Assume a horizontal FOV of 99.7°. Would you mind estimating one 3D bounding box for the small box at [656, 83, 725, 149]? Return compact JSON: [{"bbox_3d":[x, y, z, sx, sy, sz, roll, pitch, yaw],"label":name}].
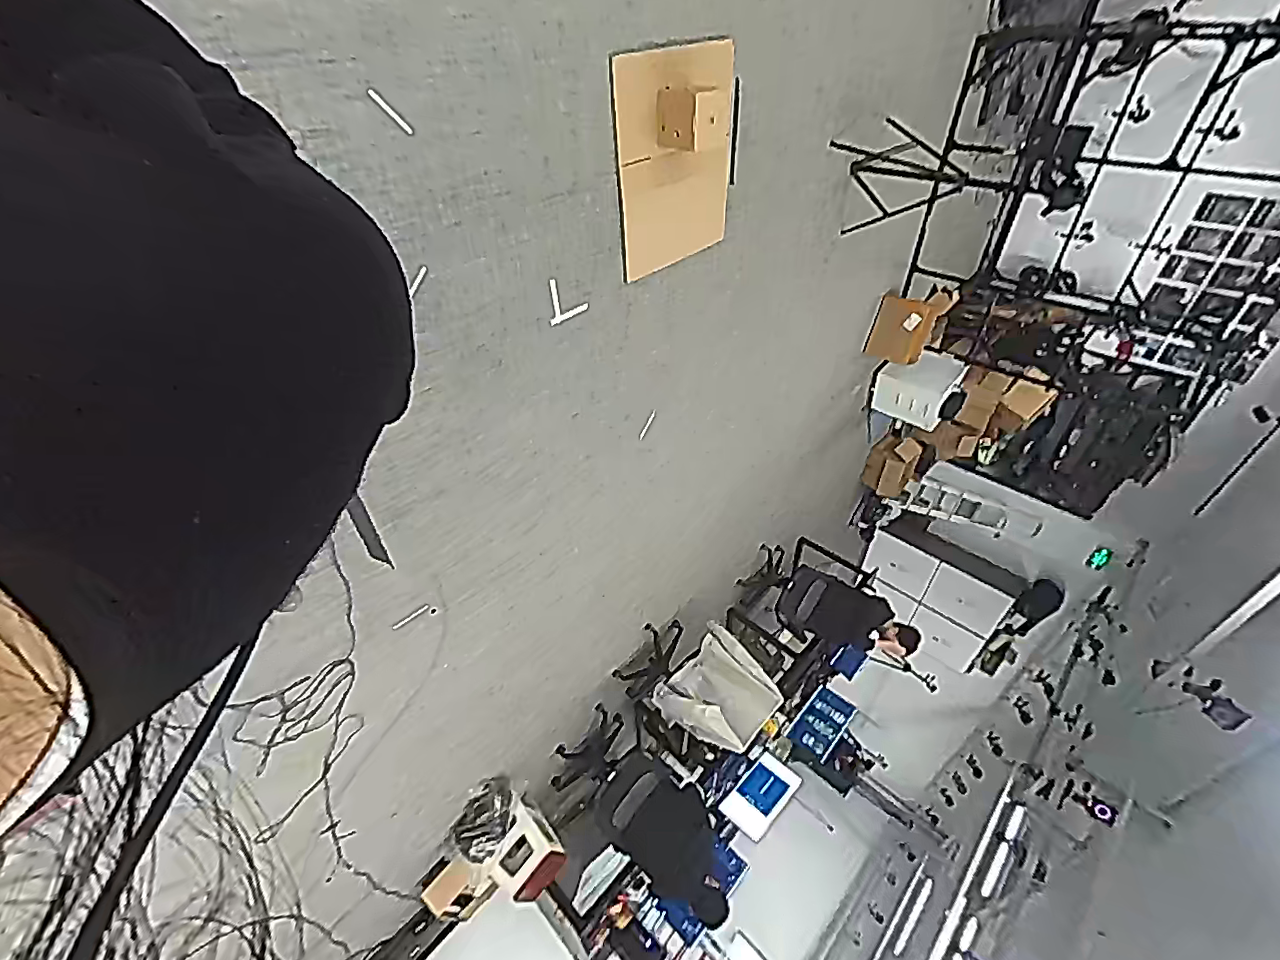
[{"bbox_3d":[0.166,-1.241,1.839,0.179,0.176,0.168,-36,143,-32],"label":"small box"}]
